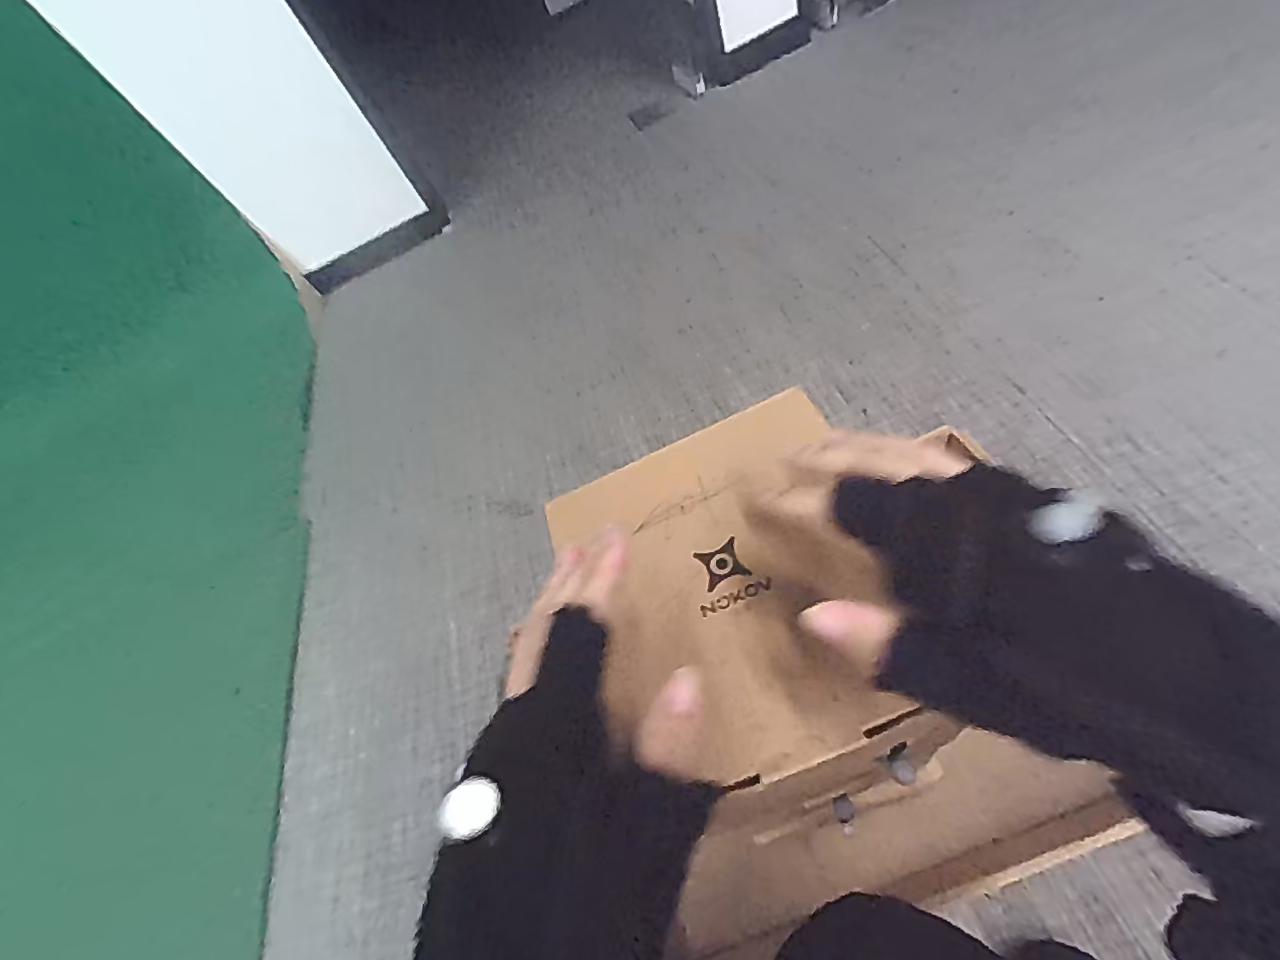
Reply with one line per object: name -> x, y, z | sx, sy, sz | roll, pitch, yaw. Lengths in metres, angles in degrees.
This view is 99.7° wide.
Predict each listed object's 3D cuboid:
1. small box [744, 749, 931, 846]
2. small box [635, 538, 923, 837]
small box -> 0.185, 0.282, 0.594 | 0.179, 0.176, 0.168 | -24, 51, 7
small box -> 0.122, 0.188, 0.480 | 0.168, 0.176, 0.179 | -28, 51, 5
